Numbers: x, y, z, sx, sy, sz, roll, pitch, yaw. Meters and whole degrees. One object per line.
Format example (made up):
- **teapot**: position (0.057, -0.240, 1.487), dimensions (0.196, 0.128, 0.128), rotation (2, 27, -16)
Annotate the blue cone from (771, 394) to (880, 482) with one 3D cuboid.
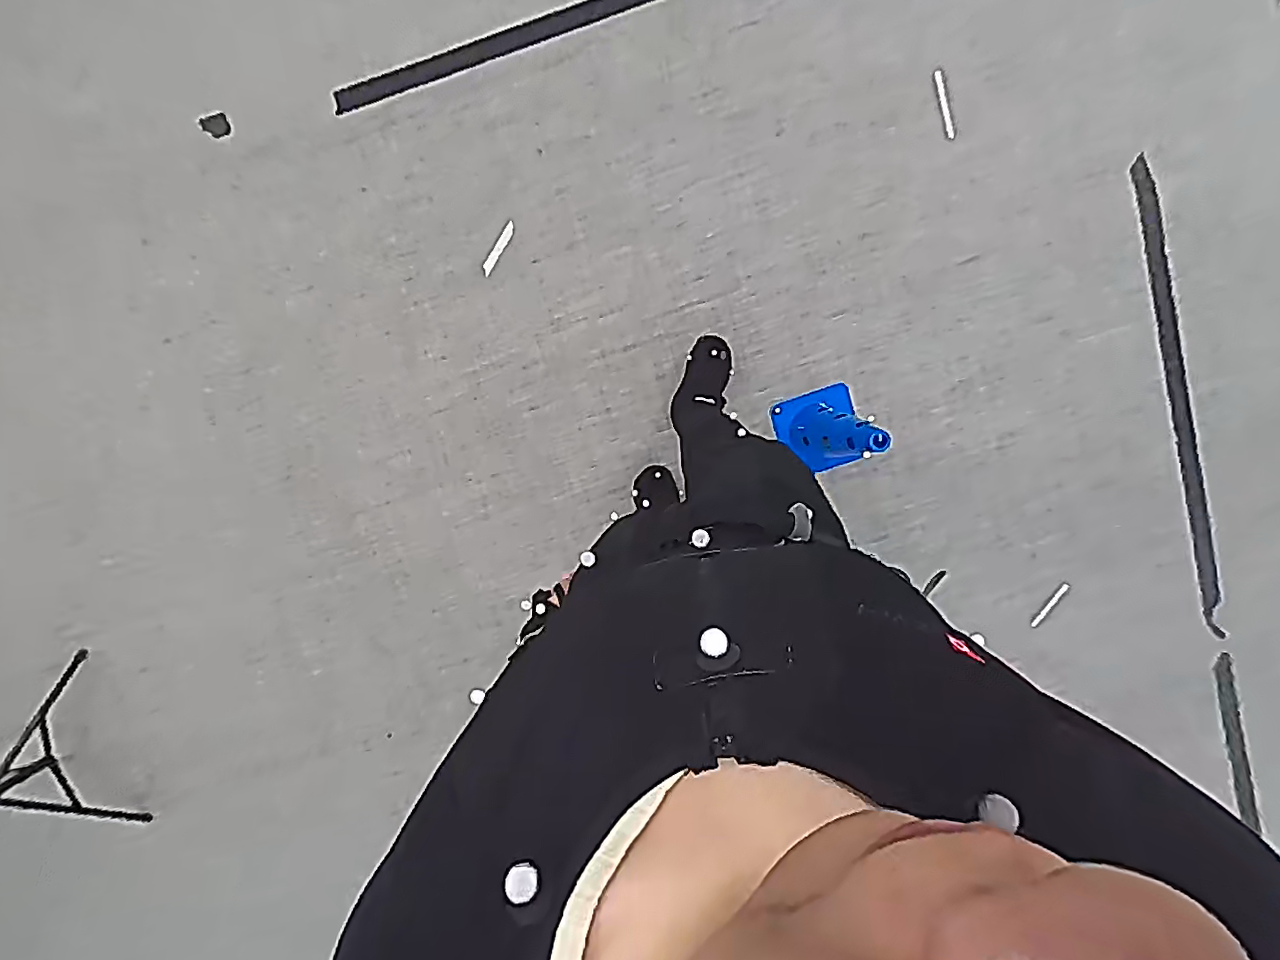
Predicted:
- **blue cone**: position (0.432, -0.081, 1.167), dimensions (0.192, 0.380, 0.193), rotation (-17, 97, 3)
